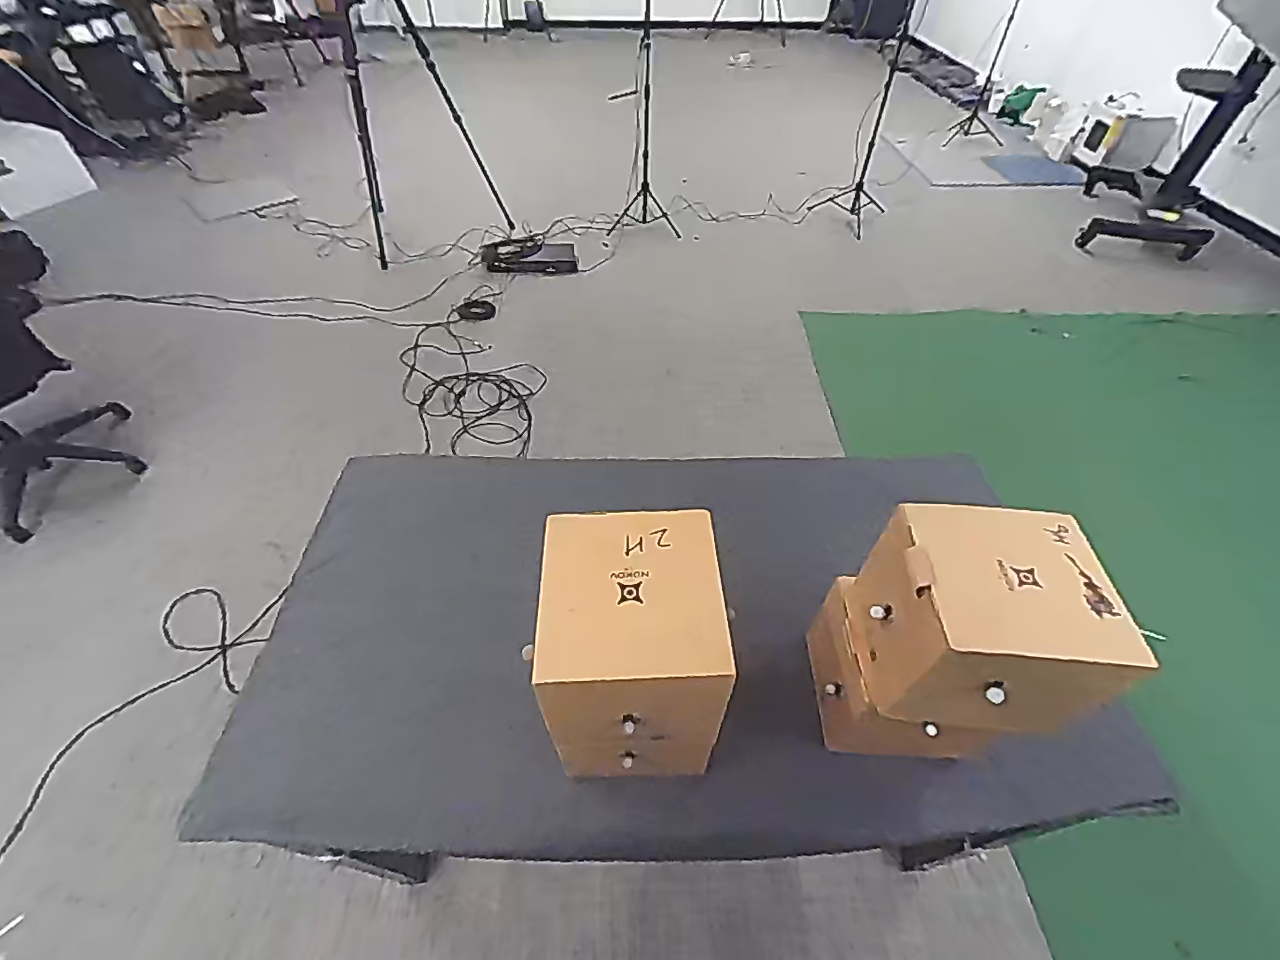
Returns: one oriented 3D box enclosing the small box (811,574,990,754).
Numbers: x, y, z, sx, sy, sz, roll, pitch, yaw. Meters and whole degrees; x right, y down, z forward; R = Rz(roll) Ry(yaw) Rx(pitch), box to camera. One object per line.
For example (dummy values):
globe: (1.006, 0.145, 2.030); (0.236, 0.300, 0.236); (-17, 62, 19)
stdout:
small box: (0.328, 0.236, 0.687); (0.179, 0.176, 0.168); (3, 48, 0)

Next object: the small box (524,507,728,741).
small box: (-0.012, 0.147, 0.537); (0.168, 0.176, 0.179); (-1, 47, -2)

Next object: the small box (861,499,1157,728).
small box: (0.342, 0.139, 0.554); (0.179, 0.176, 0.168); (4, 48, 3)

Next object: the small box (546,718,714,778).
small box: (-0.010, 0.253, 0.664); (0.179, 0.176, 0.168); (-1, 47, 0)
